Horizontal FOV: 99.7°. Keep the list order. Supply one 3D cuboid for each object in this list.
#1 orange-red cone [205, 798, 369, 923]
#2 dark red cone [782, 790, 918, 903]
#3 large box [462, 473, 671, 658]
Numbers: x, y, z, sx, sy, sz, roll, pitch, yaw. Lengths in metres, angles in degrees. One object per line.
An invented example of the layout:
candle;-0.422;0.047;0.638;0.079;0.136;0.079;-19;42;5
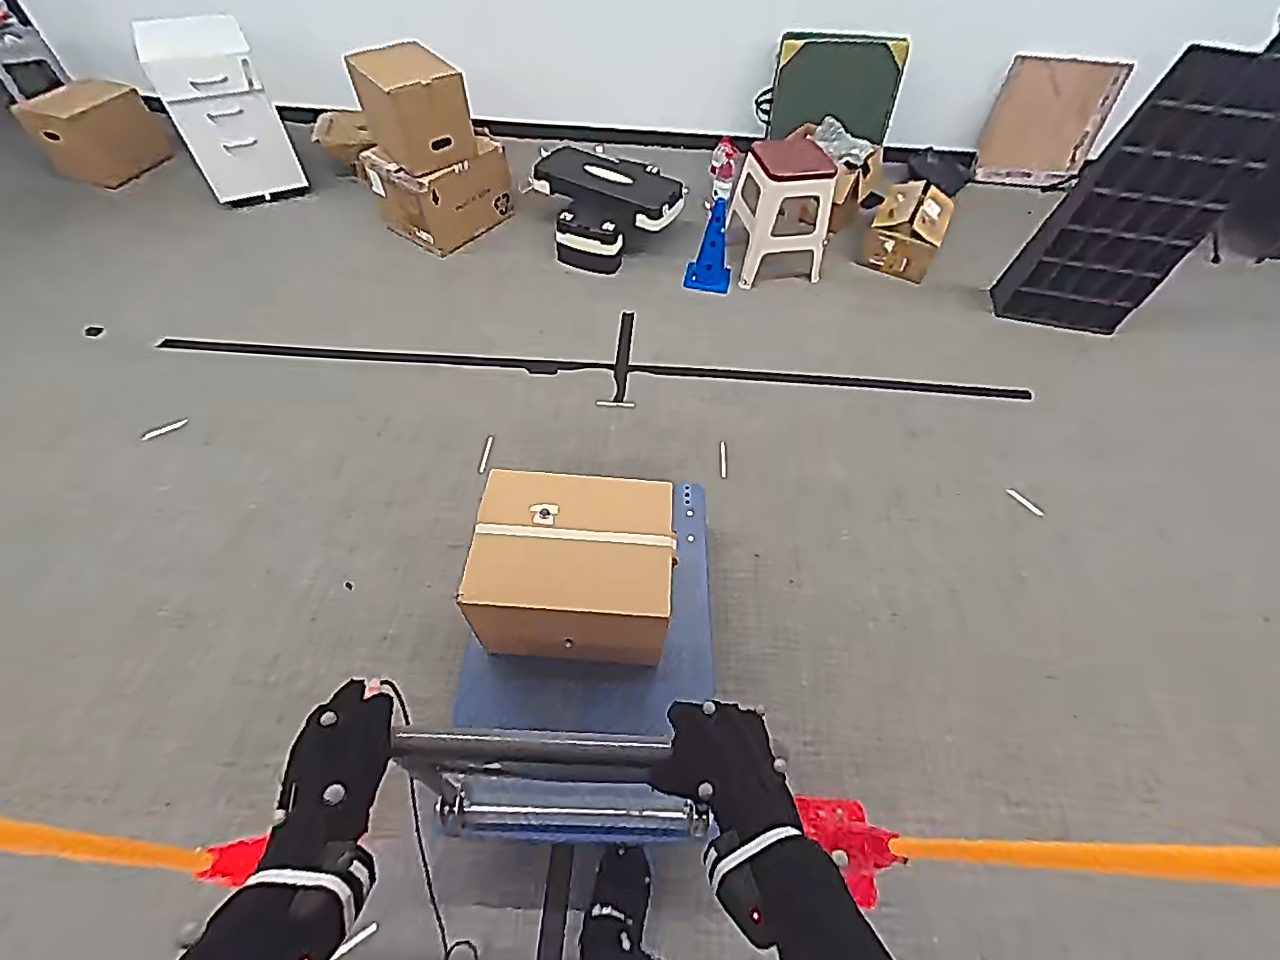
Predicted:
orange-red cone;-0.703;0.710;1.025;0.198;0.360;0.199;11;53;4
dark red cone;0.430;0.708;1.059;0.201;0.394;0.202;5;55;-2
large box;-0.139;0.204;1.233;0.408;0.320;0.320;4;55;0
